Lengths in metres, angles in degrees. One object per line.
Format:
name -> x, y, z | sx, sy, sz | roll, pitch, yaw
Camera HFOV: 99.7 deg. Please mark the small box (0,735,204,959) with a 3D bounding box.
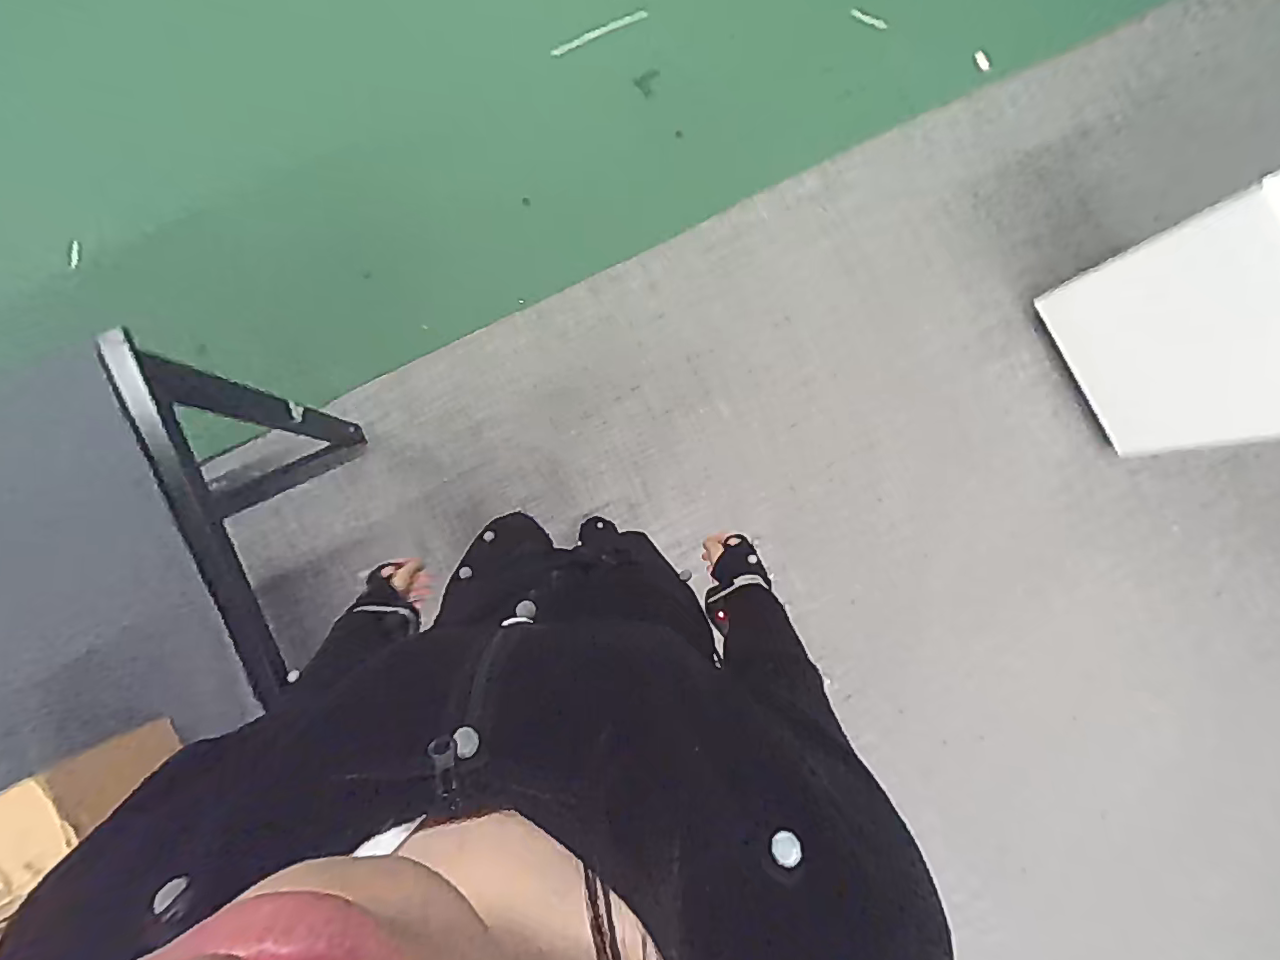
small box -> -0.674, 0.436, 0.624 | 0.179, 0.176, 0.168 | -30, 87, -4
